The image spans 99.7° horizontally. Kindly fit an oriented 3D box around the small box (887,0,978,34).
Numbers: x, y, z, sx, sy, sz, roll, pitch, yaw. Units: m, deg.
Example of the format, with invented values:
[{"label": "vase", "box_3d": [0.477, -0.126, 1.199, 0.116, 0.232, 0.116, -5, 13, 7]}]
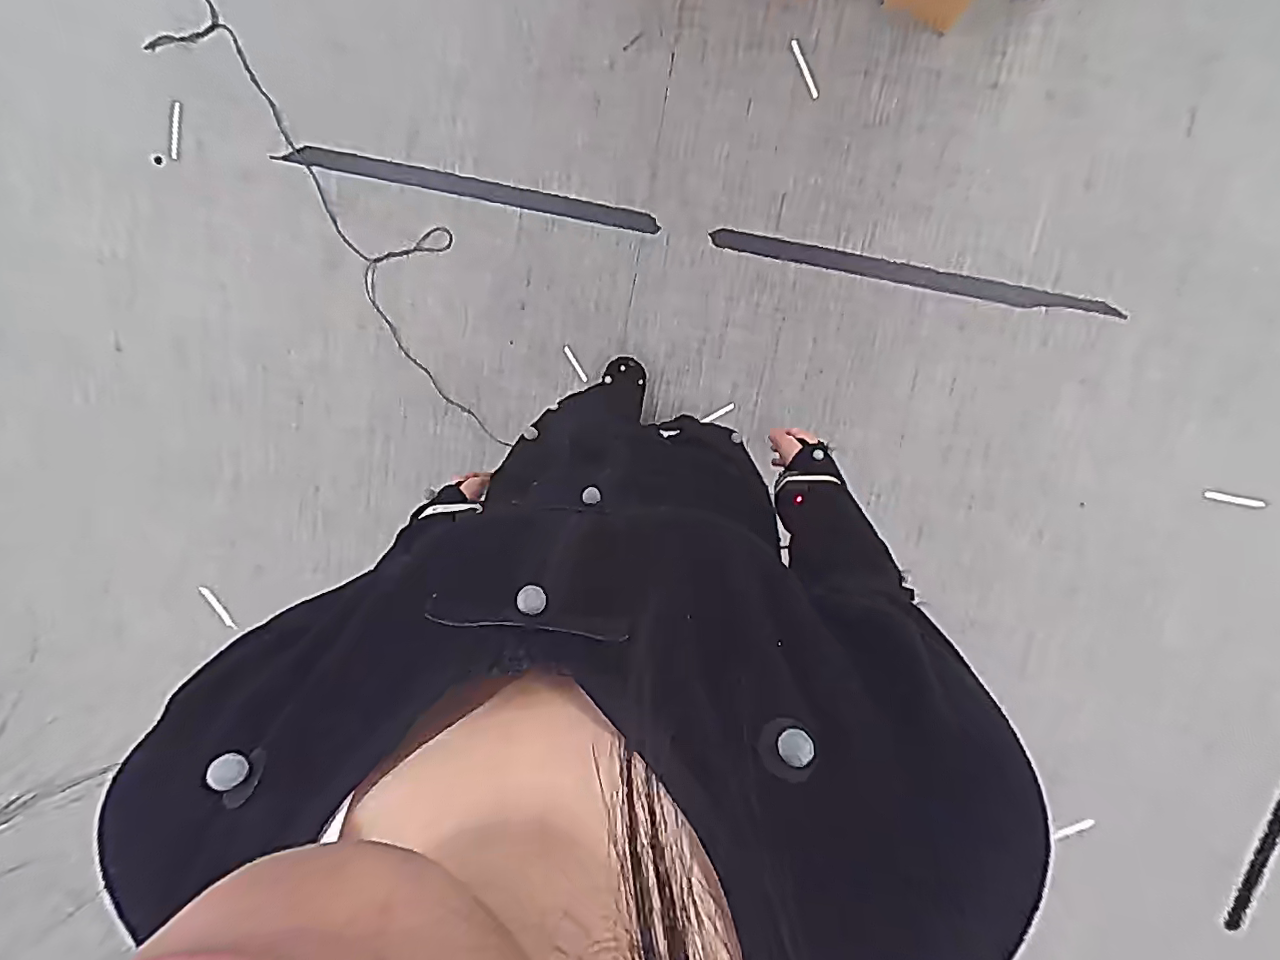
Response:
[{"label": "small box", "box_3d": [0.686, -1.140, 1.188, 0.179, 0.176, 0.168, 28, 100, 0]}]
